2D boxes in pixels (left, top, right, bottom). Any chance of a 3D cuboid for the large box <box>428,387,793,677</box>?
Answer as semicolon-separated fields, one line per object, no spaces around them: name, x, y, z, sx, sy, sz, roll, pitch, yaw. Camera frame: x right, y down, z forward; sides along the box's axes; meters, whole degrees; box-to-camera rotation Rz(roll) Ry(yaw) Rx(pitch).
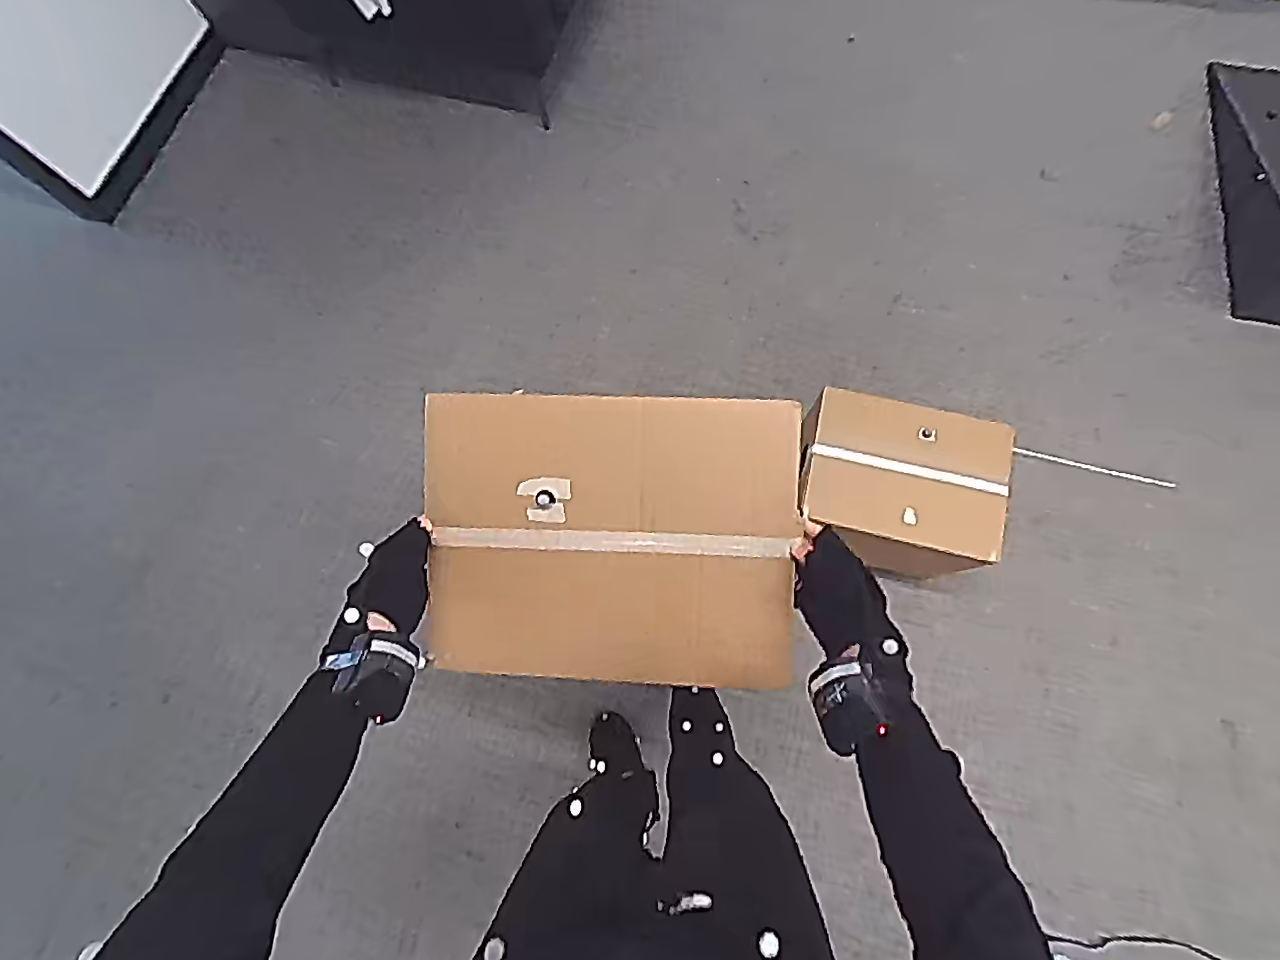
large box;-0.023;0.047;0.735;0.408;0.320;0.320;1;93;6
